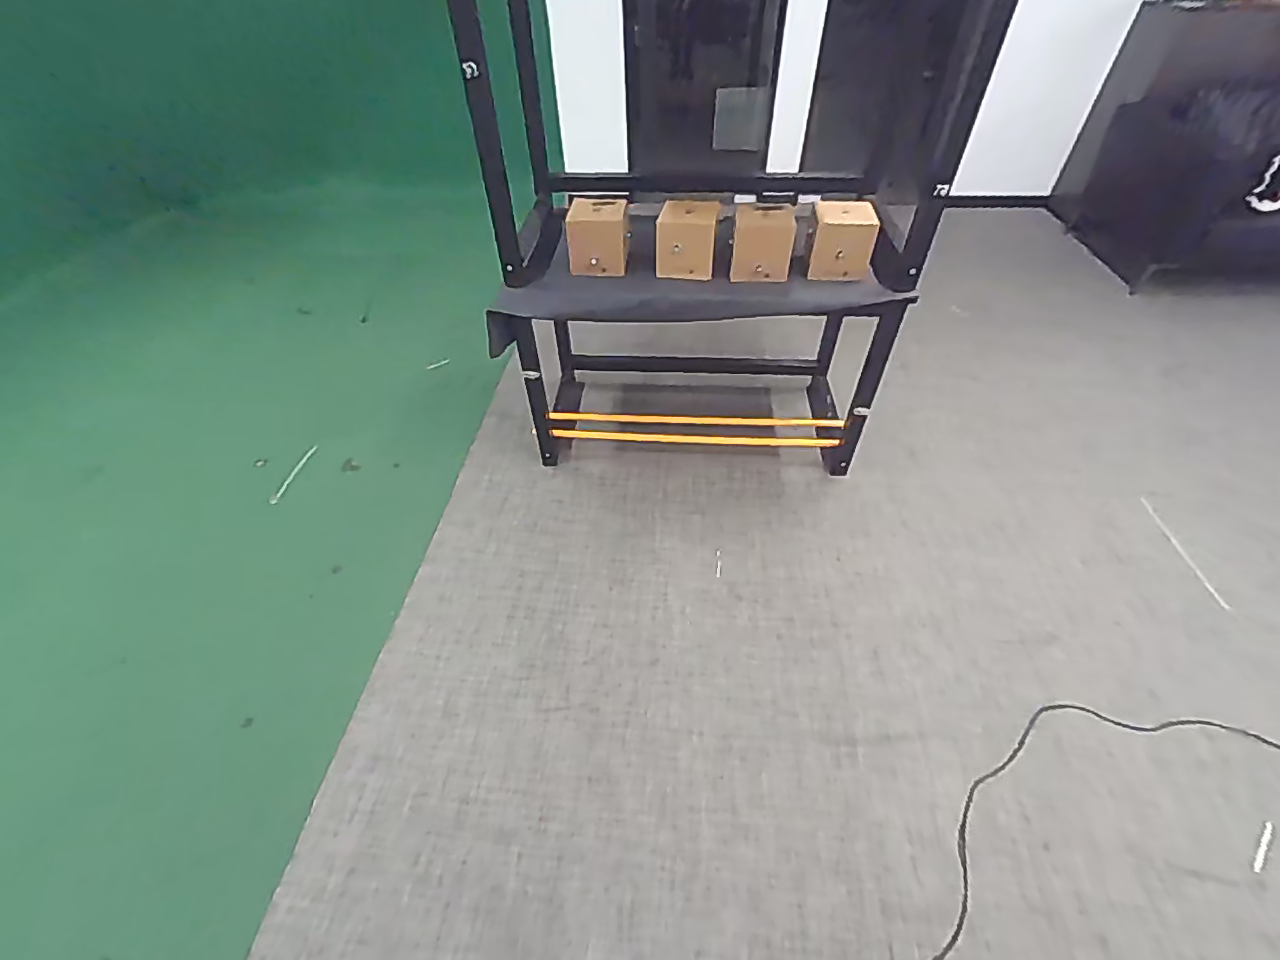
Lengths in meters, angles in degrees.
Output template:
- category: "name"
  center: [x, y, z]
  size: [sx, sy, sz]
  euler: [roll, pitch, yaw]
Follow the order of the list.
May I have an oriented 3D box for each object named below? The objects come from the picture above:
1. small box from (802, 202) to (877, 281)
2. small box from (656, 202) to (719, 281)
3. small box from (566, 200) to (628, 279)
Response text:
- category: "small box"
  center: [0.584, -0.704, 1.600]
  size: [0.168, 0.176, 0.179]
  euler: [4, 46, 6]
- category: "small box"
  center: [0.144, -0.719, 1.633]
  size: [0.168, 0.176, 0.179]
  euler: [7, 46, 8]
- category: "small box"
  center: [-0.125, -0.737, 1.656]
  size: [0.168, 0.176, 0.179]
  euler: [2, 47, 4]
